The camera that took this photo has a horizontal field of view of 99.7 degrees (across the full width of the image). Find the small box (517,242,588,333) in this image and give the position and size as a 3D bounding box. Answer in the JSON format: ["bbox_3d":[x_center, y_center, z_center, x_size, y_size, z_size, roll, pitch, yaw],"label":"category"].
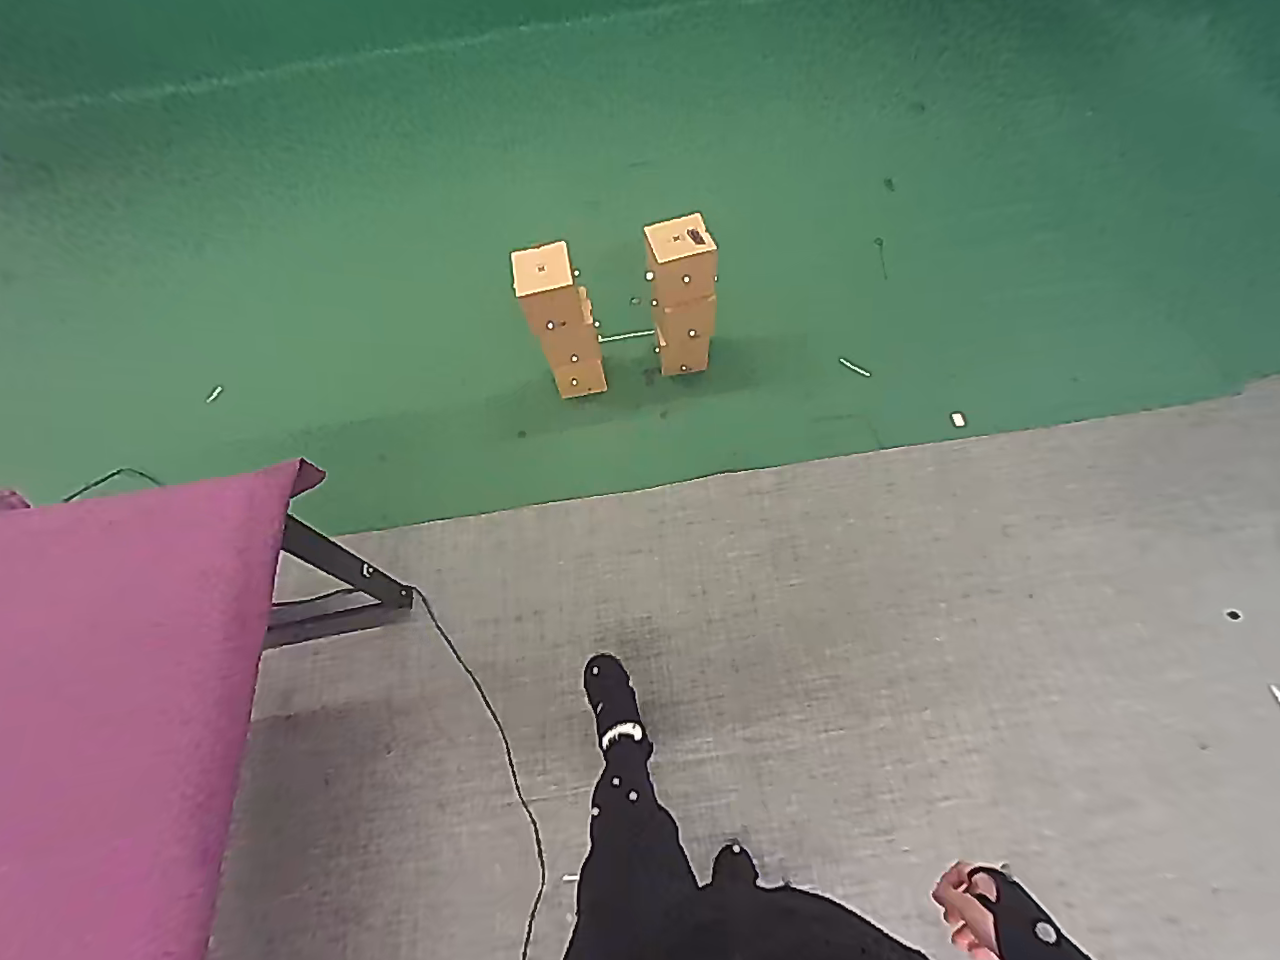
[{"bbox_3d":[-0.260,-0.573,1.620,0.168,0.176,0.179,-13,62,2],"label":"small box"}]

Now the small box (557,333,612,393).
[{"bbox_3d":[-0.199,-0.425,1.906,0.168,0.176,0.179,-11,61,1],"label":"small box"}]

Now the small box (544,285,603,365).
[{"bbox_3d":[-0.220,-0.501,1.763,0.179,0.176,0.168,-13,61,-1],"label":"small box"}]

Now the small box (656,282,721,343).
[{"bbox_3d":[0.153,-0.579,1.761,0.168,0.176,0.179,-18,63,-3],"label":"small box"}]

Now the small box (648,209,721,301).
[{"bbox_3d":[0.132,-0.670,1.623,0.179,0.176,0.168,-16,62,-1],"label":"small box"}]
